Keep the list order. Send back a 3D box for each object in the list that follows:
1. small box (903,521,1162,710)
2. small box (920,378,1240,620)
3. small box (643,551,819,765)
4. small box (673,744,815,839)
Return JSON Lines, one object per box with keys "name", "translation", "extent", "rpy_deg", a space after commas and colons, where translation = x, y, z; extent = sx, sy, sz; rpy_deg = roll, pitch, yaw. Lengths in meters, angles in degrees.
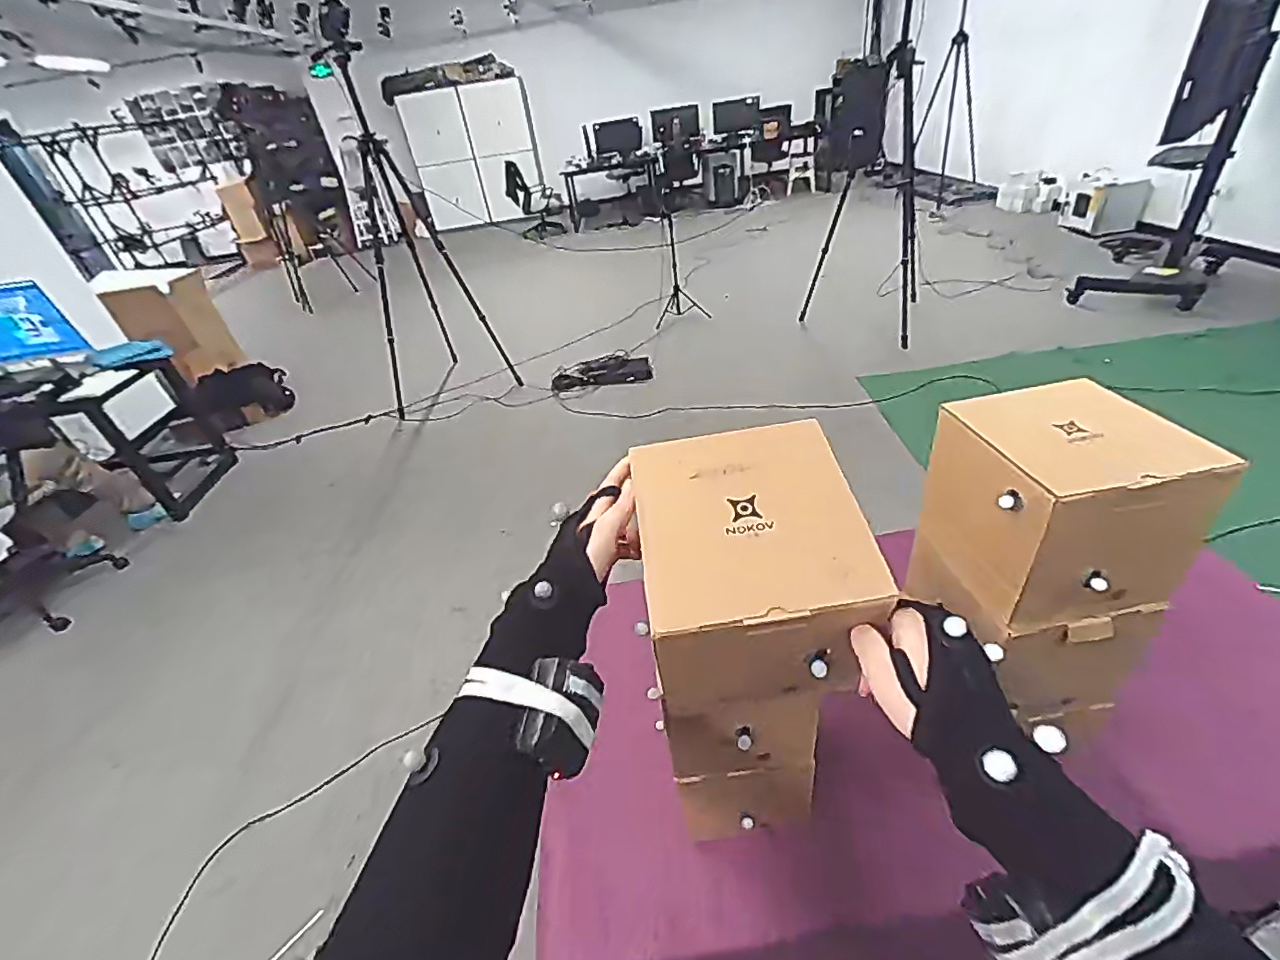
{"name": "small box", "translation": [0.443, 0.152, 0.650], "extent": [0.168, 0.176, 0.179], "rpy_deg": [-10, 34, -1]}
{"name": "small box", "translation": [0.422, 0.015, 0.564], "extent": [0.168, 0.176, 0.179], "rpy_deg": [-11, 36, -2]}
{"name": "small box", "translation": [0.102, 0.215, 0.644], "extent": [0.168, 0.176, 0.179], "rpy_deg": [-9, 36, 0]}
{"name": "small box", "translation": [0.126, 0.350, 0.736], "extent": [0.168, 0.176, 0.179], "rpy_deg": [-10, 35, 1]}
